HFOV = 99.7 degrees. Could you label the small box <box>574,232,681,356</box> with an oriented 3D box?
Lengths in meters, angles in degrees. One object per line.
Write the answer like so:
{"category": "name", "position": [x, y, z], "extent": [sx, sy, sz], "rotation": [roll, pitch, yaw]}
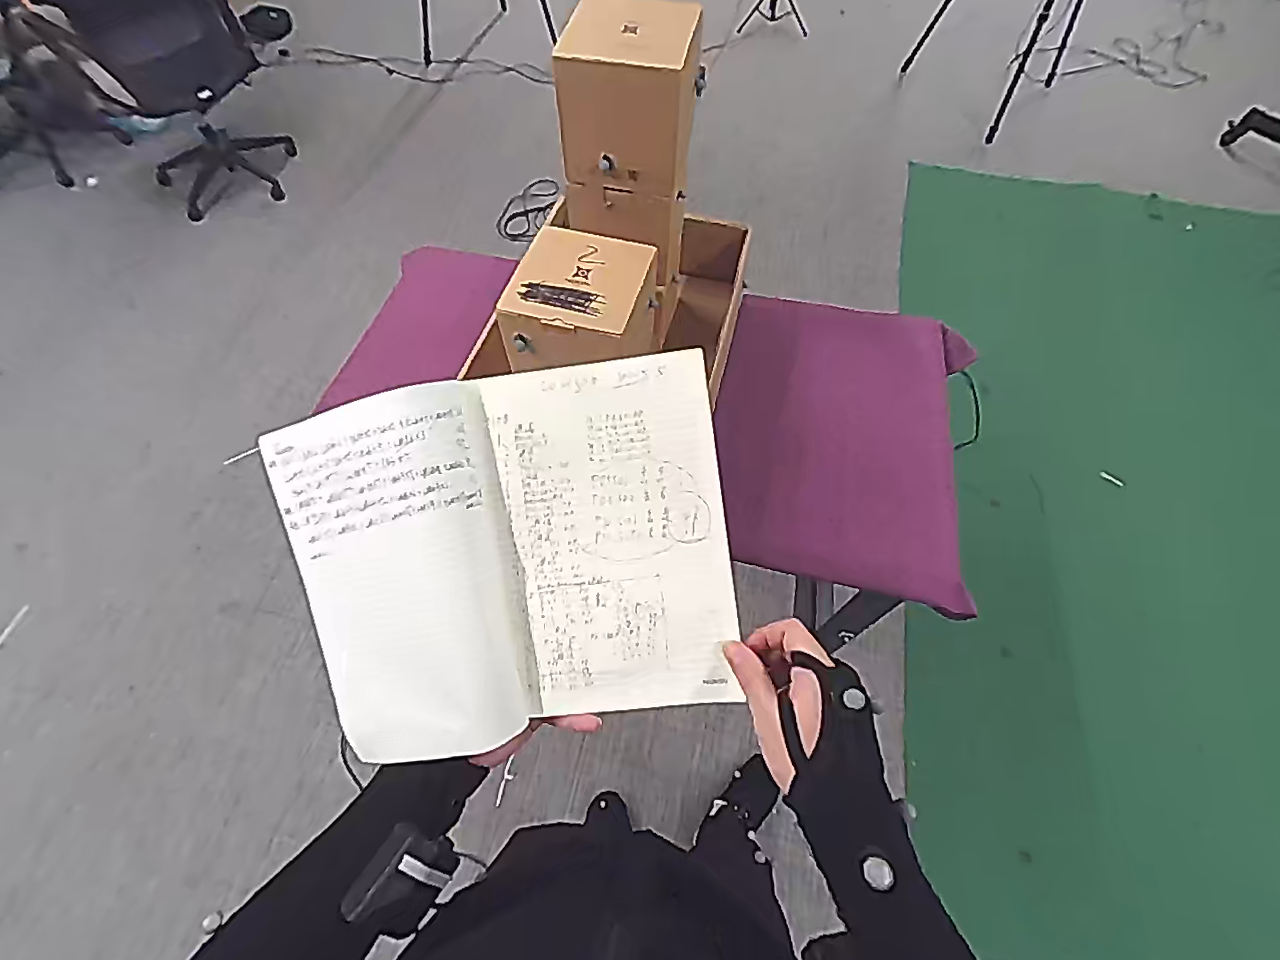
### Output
{"category": "small box", "position": [-0.023, -0.372, 1.053], "extent": [0.168, 0.176, 0.179], "rotation": [11, 62, 5]}

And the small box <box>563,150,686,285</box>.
{"category": "small box", "position": [-0.019, -0.458, 0.913], "extent": [0.168, 0.176, 0.179], "rotation": [11, 61, 5]}

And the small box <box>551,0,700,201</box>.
{"category": "small box", "position": [-0.016, -0.535, 0.770], "extent": [0.168, 0.176, 0.179], "rotation": [11, 63, 5]}
